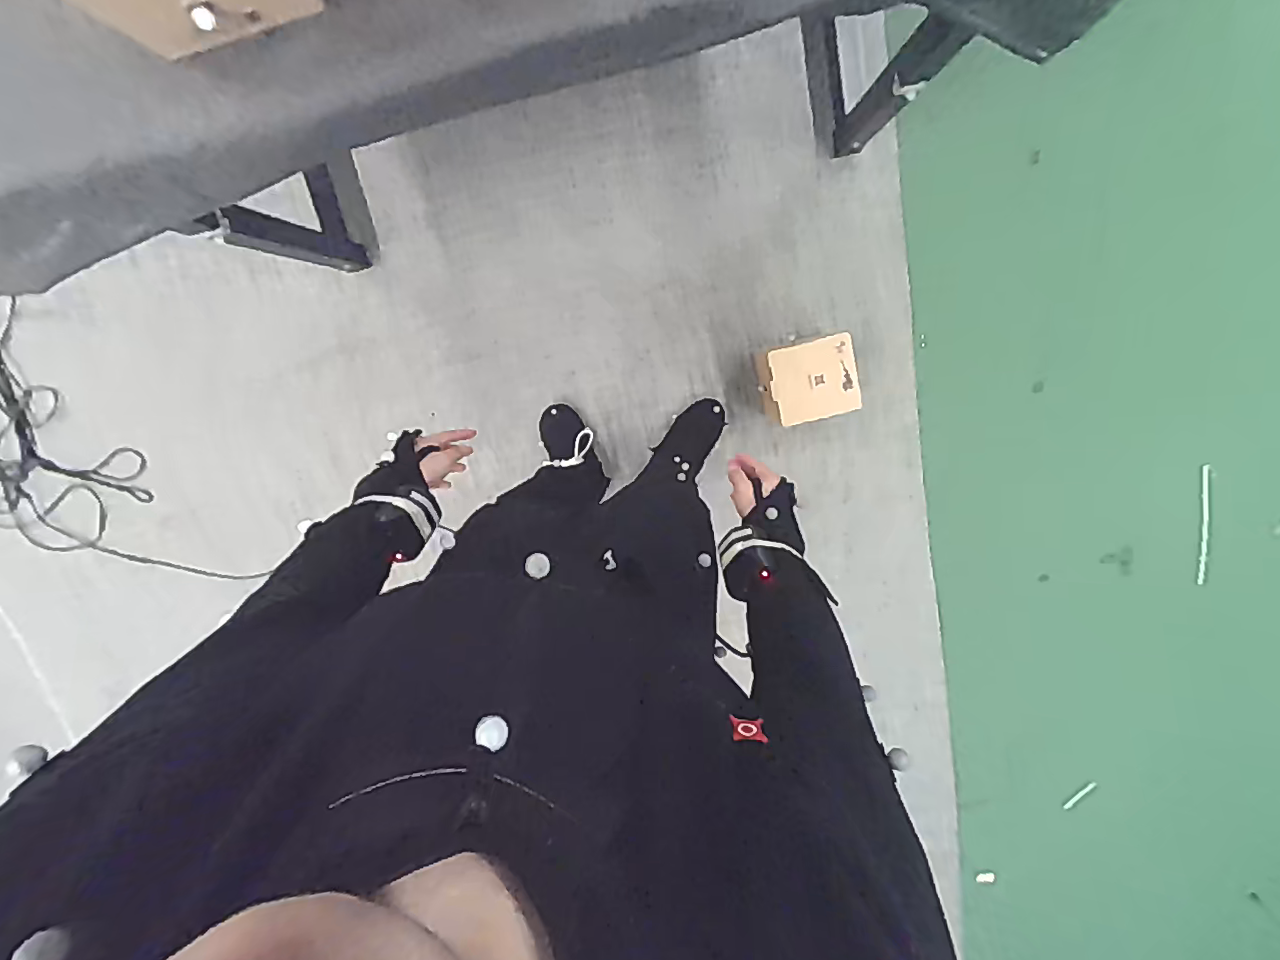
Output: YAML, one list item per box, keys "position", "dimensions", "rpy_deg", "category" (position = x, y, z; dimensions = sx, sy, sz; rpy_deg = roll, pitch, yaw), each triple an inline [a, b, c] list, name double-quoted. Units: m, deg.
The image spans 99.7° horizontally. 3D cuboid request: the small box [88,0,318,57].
- position: [-0.393, -0.480, 0.412]
  dimensions: [0.168, 0.176, 0.179]
  rpy_deg: [-13, 104, 5]
  category: "small box"
